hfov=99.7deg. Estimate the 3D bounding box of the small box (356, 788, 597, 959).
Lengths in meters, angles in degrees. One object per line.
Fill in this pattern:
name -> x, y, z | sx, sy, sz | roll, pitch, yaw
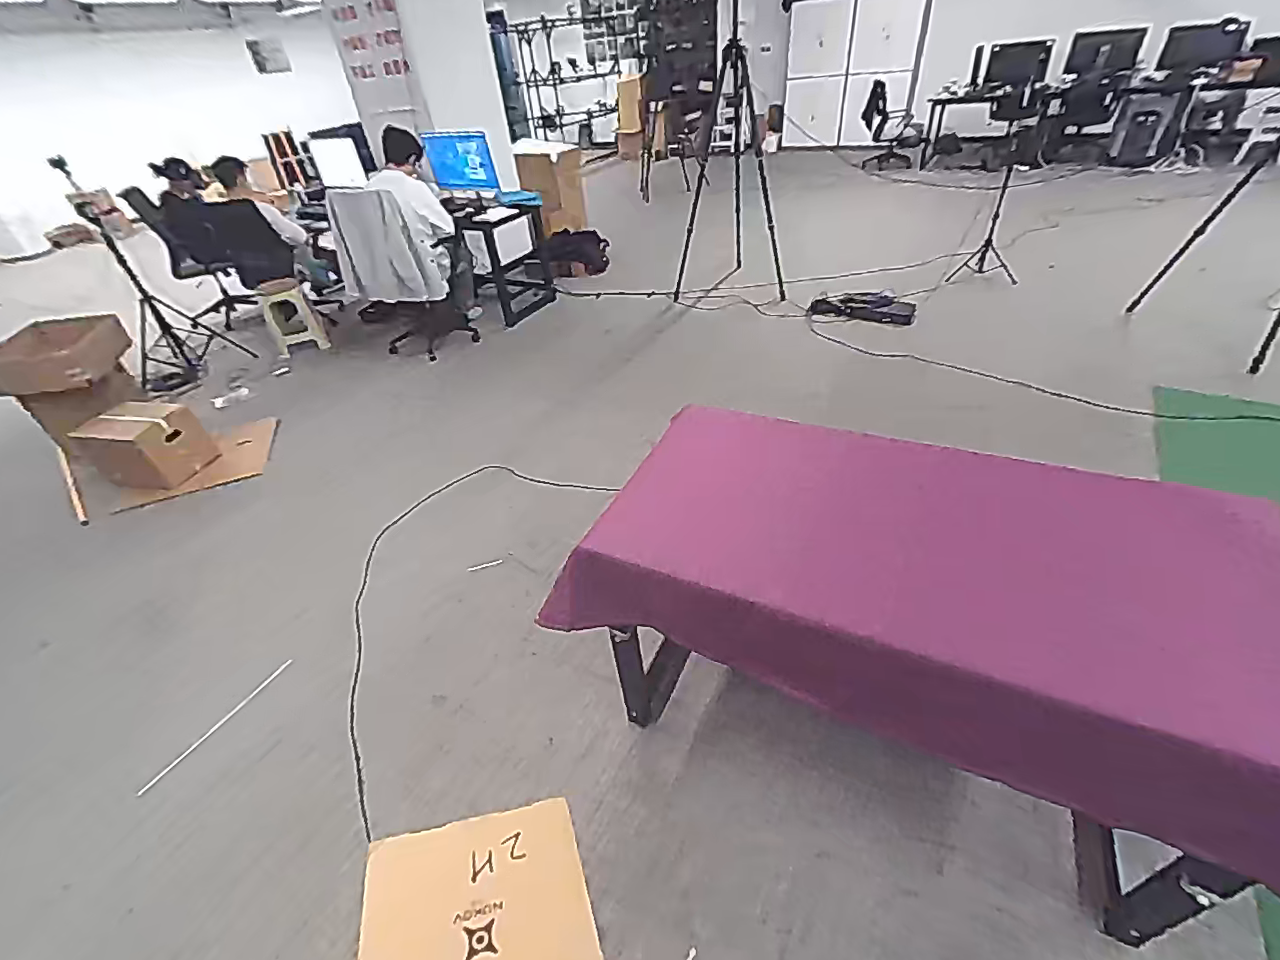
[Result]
small box -> -0.132, 0.400, 0.441 | 0.168, 0.176, 0.179 | -1, 26, -20
